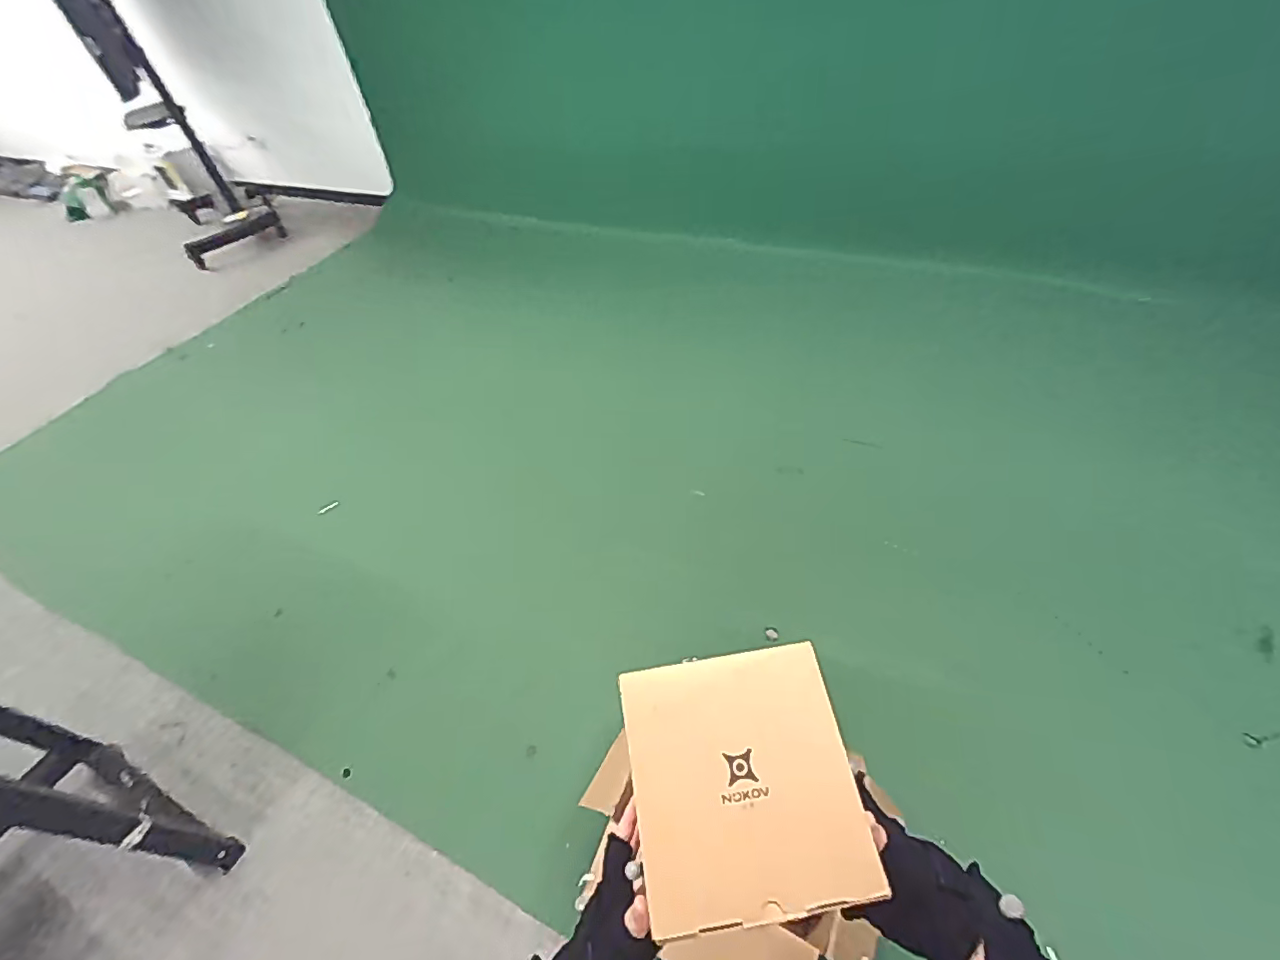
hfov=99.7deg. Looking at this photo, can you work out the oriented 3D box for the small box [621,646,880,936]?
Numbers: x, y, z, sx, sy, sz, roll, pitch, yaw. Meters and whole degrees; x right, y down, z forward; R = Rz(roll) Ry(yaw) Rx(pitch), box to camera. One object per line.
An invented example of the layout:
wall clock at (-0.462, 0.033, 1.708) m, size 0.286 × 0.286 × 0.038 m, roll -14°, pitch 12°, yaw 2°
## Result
small box at (0.076, 0.267, 0.482) m, size 0.168 × 0.176 × 0.179 m, roll -8°, pitch 60°, yaw -4°
